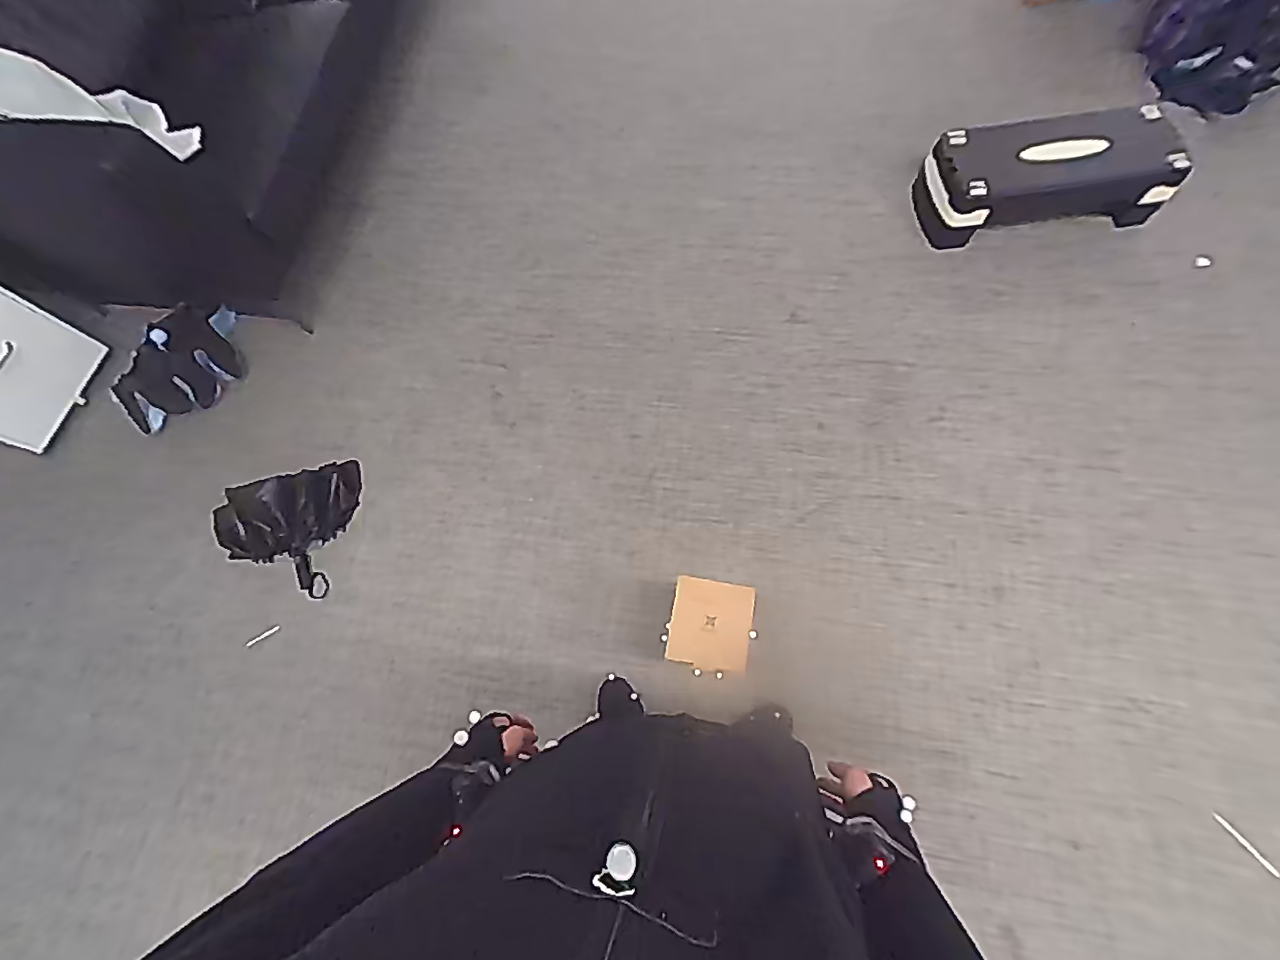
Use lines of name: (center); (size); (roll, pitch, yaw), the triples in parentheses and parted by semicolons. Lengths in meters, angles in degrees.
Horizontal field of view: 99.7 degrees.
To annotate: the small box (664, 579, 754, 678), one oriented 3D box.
small box: (0.150, 0.329, 1.189); (0.168, 0.176, 0.179); (8, 70, 7)
